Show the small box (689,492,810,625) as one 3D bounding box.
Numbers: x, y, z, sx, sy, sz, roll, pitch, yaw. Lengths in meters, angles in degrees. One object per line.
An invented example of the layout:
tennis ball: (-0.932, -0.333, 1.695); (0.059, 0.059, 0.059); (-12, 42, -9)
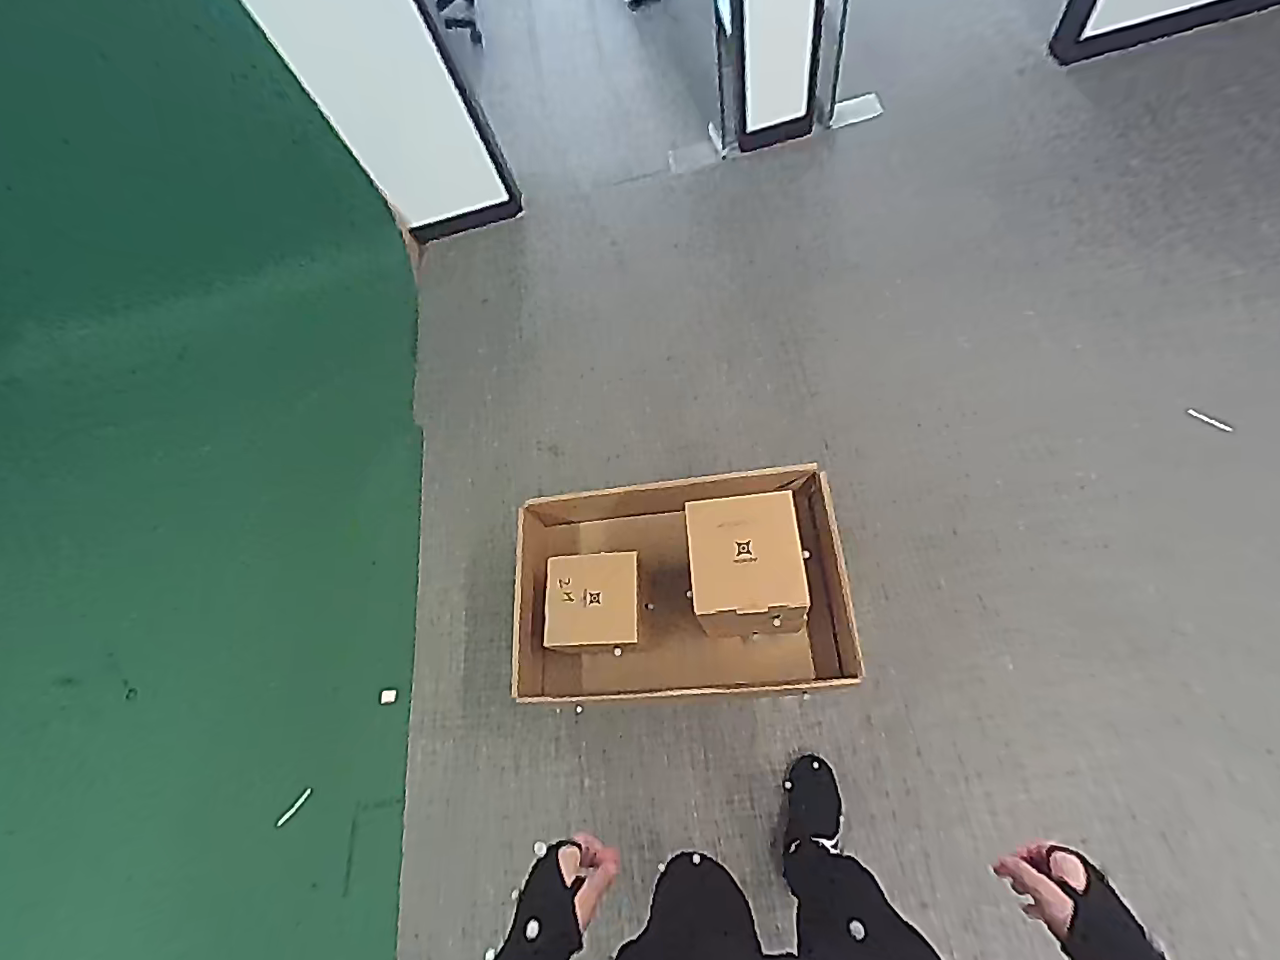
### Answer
small box: (0.173, 0.136, 0.870); (0.168, 0.176, 0.179); (-6, 66, 9)
